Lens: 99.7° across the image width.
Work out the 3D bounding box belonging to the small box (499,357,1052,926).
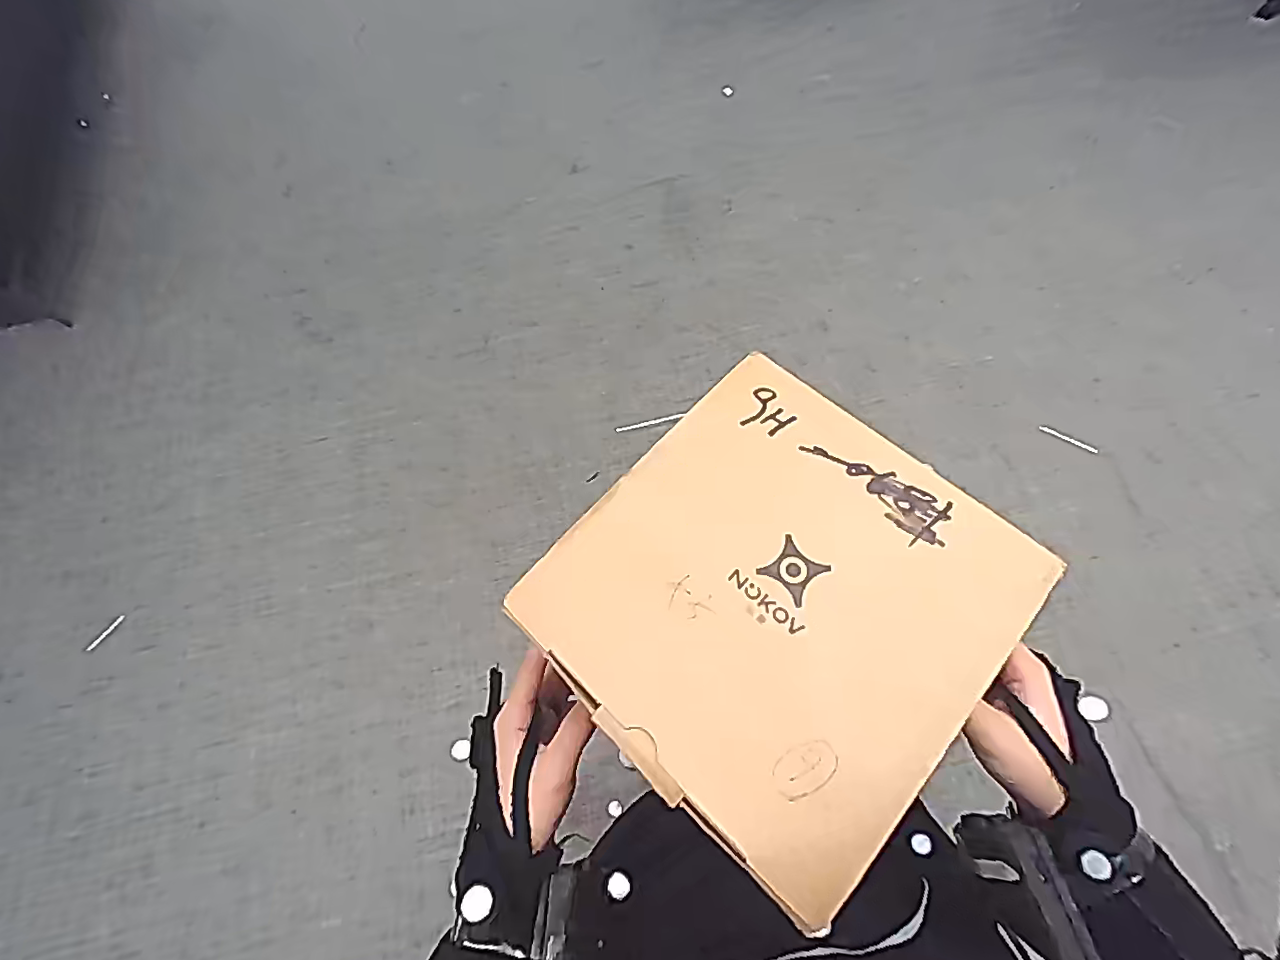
[{"bbox_3d":[0.061,0.076,0.301,0.168,0.176,0.179,41,76,18],"label":"small box"}]
